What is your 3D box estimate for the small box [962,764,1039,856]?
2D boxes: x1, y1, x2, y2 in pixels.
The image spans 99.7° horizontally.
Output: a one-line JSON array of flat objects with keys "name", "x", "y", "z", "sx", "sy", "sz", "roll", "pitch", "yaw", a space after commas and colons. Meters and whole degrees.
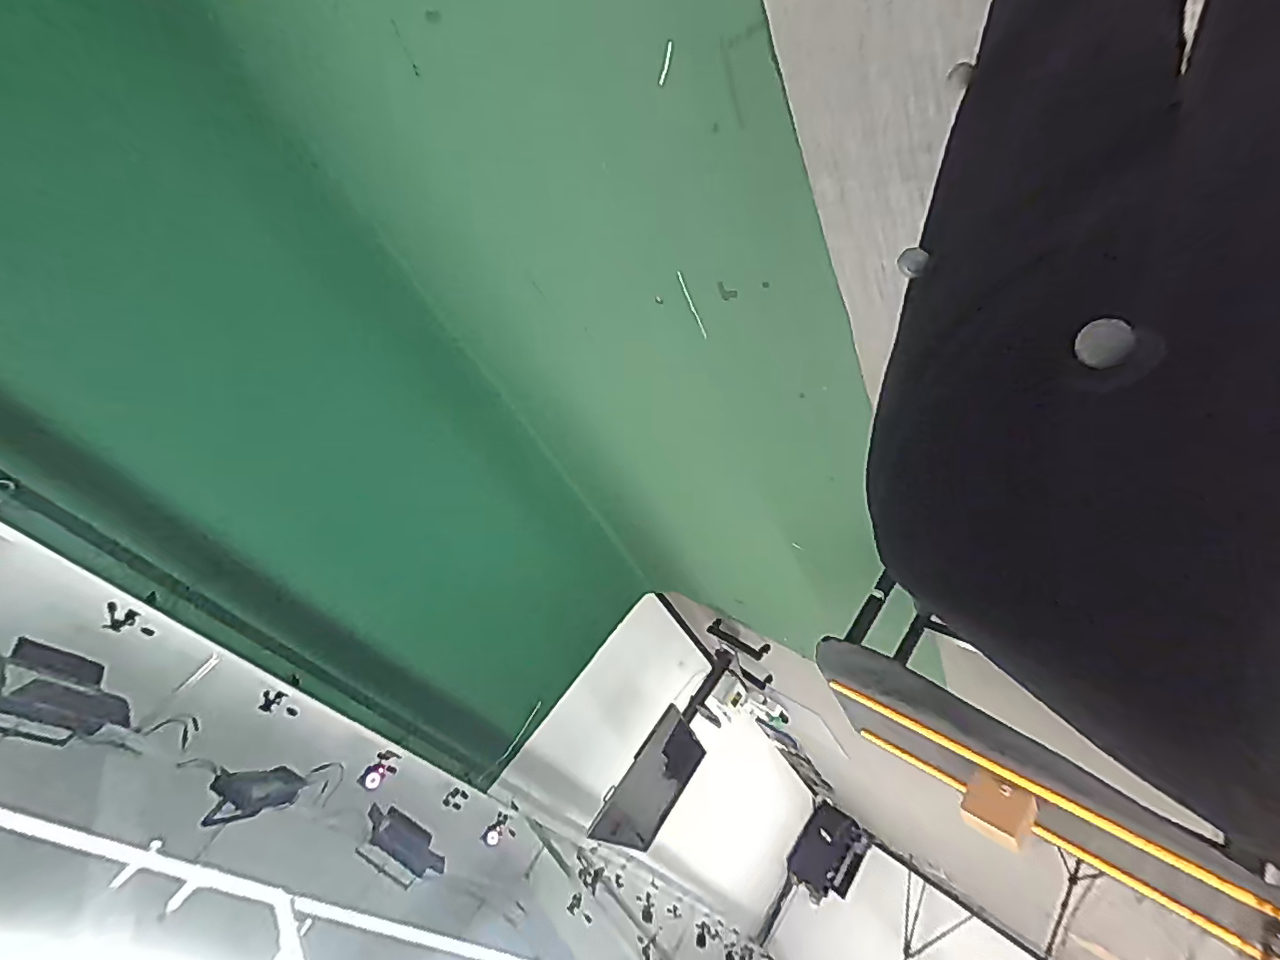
[{"name": "small box", "x": 1.196, "y": 1.084, "z": 1.787, "sx": 0.168, "sy": 0.176, "sz": 0.179, "roll": 13, "pitch": 145, "yaw": 49}]
